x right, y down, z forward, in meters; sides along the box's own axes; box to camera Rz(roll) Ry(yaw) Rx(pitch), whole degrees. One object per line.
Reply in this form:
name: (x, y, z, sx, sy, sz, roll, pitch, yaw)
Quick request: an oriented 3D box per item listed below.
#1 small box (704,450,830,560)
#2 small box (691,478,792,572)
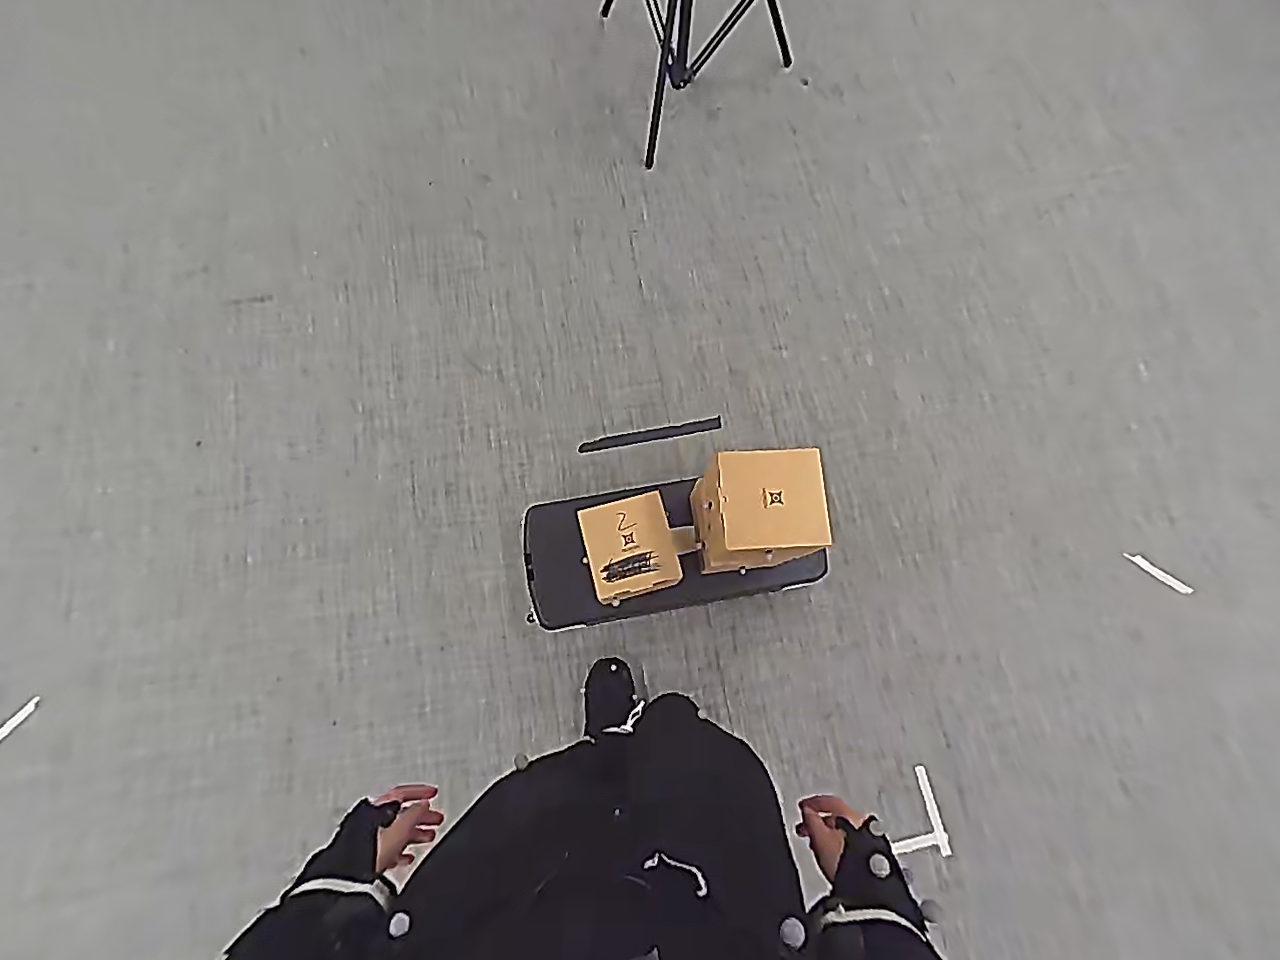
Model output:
small box: (0.215, 0.050, 0.959, 0.179, 0.176, 0.168, -3, 76, -1)
small box: (0.201, 0.094, 1.116, 0.168, 0.176, 0.179, -6, 75, -2)
